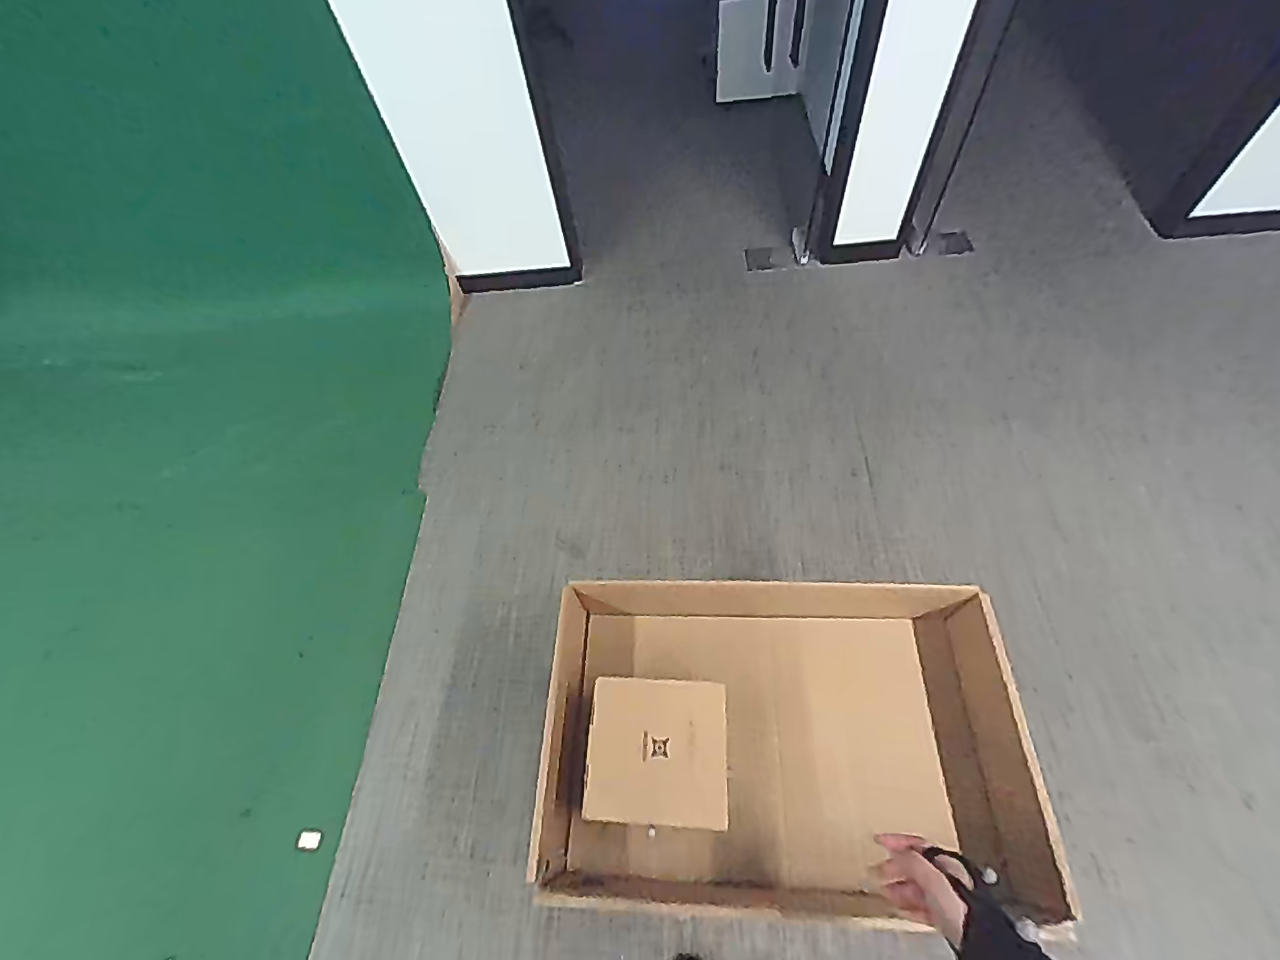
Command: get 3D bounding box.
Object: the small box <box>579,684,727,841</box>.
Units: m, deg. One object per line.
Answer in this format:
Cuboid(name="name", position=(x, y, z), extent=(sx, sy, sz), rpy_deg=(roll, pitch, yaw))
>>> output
Cuboid(name="small box", position=(0.028, 0.385, 0.737), extent=(0.179, 0.176, 0.168), rpy_deg=(0, 59, 8))
